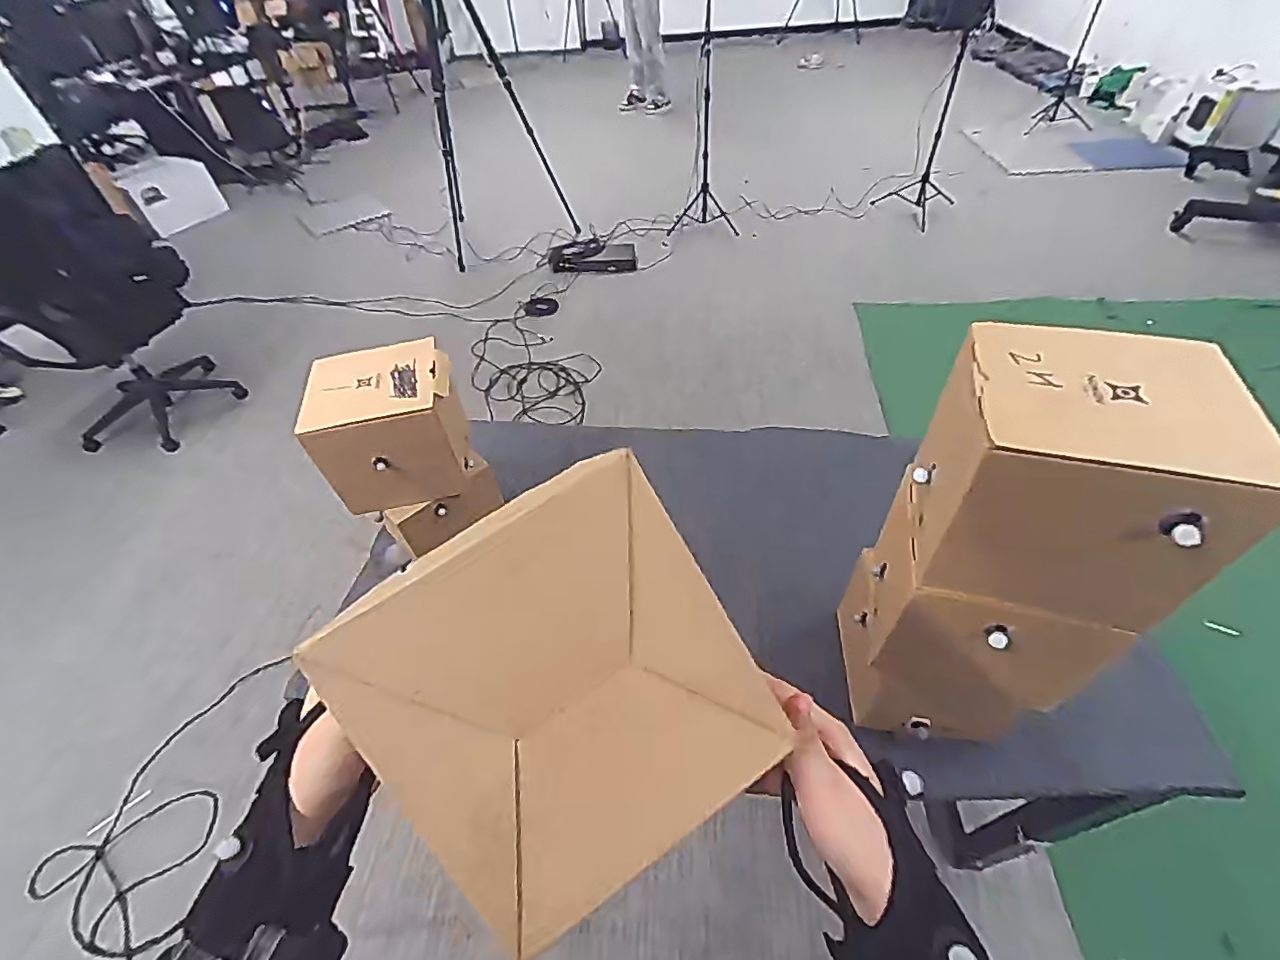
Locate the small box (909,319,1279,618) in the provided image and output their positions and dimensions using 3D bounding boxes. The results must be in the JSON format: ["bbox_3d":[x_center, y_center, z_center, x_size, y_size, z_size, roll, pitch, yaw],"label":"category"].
[{"bbox_3d":[0.342,-0.009,0.447,0.179,0.176,0.168,11,48,16],"label":"small box"}]

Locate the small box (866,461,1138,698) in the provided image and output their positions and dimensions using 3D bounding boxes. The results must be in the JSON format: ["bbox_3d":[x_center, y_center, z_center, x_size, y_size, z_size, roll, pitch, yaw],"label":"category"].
[{"bbox_3d":[0.350,0.106,0.565,0.179,0.176,0.168,9,48,15],"label":"small box"}]

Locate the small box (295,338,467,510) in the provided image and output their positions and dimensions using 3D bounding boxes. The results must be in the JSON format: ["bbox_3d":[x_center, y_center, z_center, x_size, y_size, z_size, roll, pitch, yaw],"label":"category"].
[{"bbox_3d":[-0.360,-0.080,0.794,0.179,0.176,0.168,-12,49,-6],"label":"small box"}]

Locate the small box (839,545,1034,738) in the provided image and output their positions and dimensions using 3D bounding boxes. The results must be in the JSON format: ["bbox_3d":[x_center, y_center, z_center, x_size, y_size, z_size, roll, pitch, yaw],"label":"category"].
[{"bbox_3d":[0.362,0.205,0.693,0.168,0.176,0.179,1,47,8],"label":"small box"}]

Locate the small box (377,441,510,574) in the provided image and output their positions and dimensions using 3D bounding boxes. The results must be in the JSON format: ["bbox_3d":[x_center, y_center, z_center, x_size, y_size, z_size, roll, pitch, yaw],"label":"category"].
[{"bbox_3d":[-0.349,0.027,0.919,0.168,0.176,0.179,-38,56,-26],"label":"small box"}]
